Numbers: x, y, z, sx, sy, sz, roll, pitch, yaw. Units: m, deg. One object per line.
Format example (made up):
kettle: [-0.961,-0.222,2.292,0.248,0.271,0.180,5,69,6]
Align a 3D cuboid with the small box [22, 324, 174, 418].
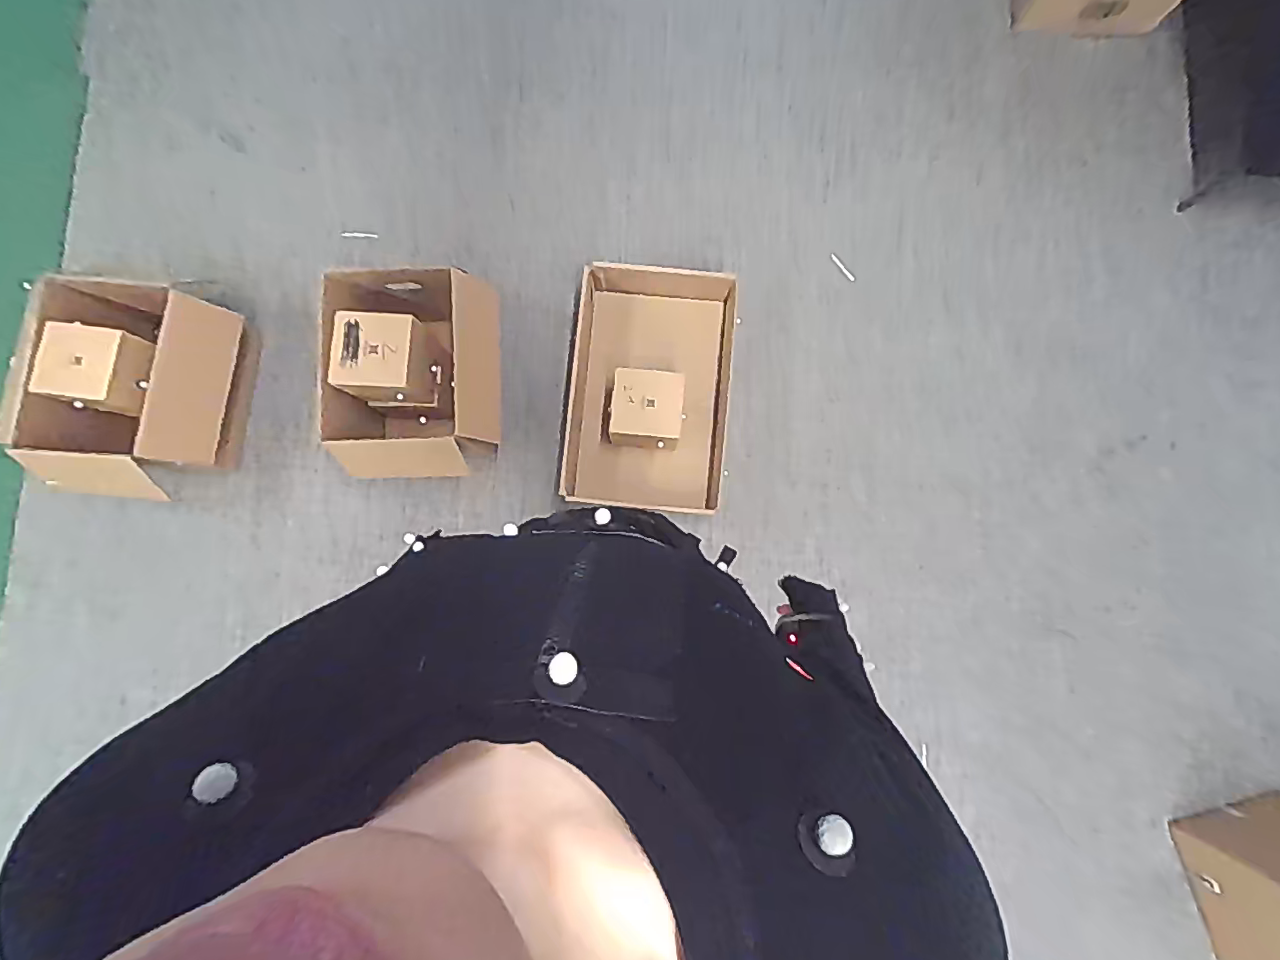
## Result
small box: [-1.256,-0.247,1.268,0.179,0.176,0.168,7,83,0]
